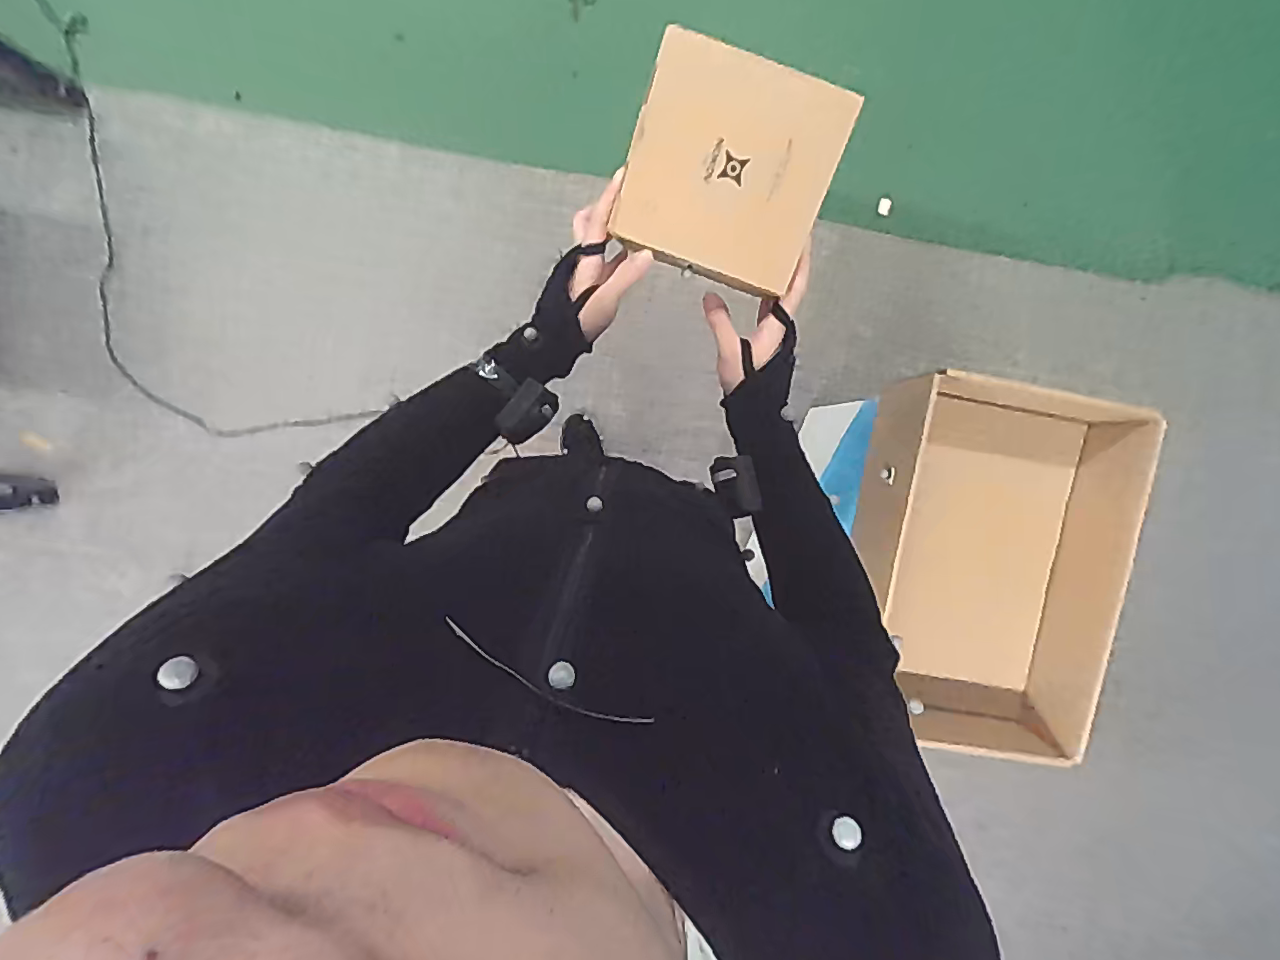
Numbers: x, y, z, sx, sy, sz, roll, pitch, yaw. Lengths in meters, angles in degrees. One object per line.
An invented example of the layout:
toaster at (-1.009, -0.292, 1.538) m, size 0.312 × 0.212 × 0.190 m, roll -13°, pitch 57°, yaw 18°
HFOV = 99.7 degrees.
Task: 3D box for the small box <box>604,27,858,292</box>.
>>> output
small box at (0.081, -0.295, 0.544) m, size 0.179 × 0.176 × 0.168 m, roll 20°, pitch 109°, yaw -1°
